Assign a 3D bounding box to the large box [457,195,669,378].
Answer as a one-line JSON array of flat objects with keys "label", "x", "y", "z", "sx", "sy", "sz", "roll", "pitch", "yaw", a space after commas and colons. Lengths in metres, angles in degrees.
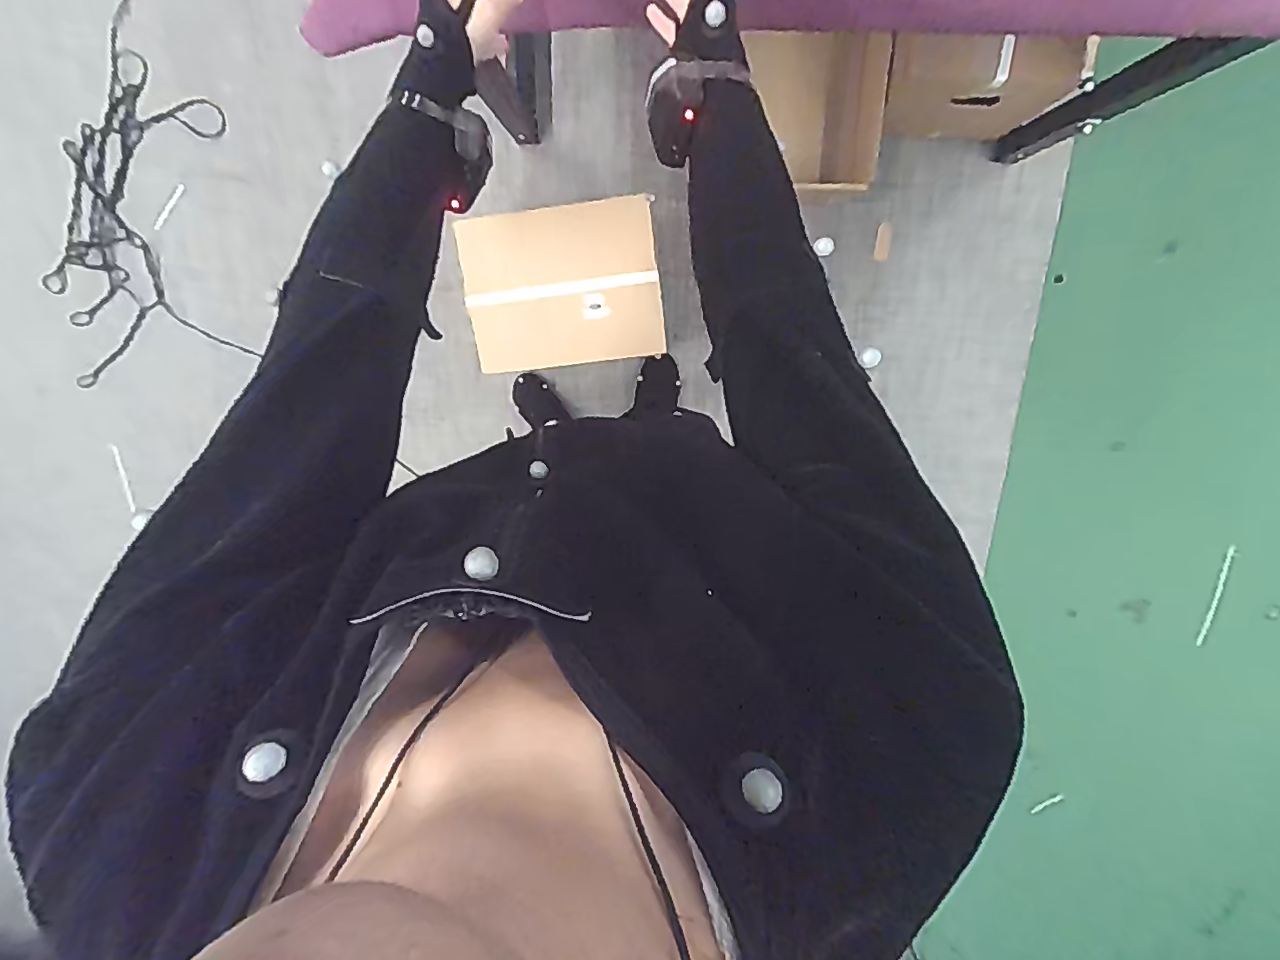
[{"label": "large box", "x": -0.151, "y": -0.424, "z": 1.251, "sx": 0.408, "sy": 0.320, "sz": 0.320, "roll": -6, "pitch": 105, "yaw": 4}]
